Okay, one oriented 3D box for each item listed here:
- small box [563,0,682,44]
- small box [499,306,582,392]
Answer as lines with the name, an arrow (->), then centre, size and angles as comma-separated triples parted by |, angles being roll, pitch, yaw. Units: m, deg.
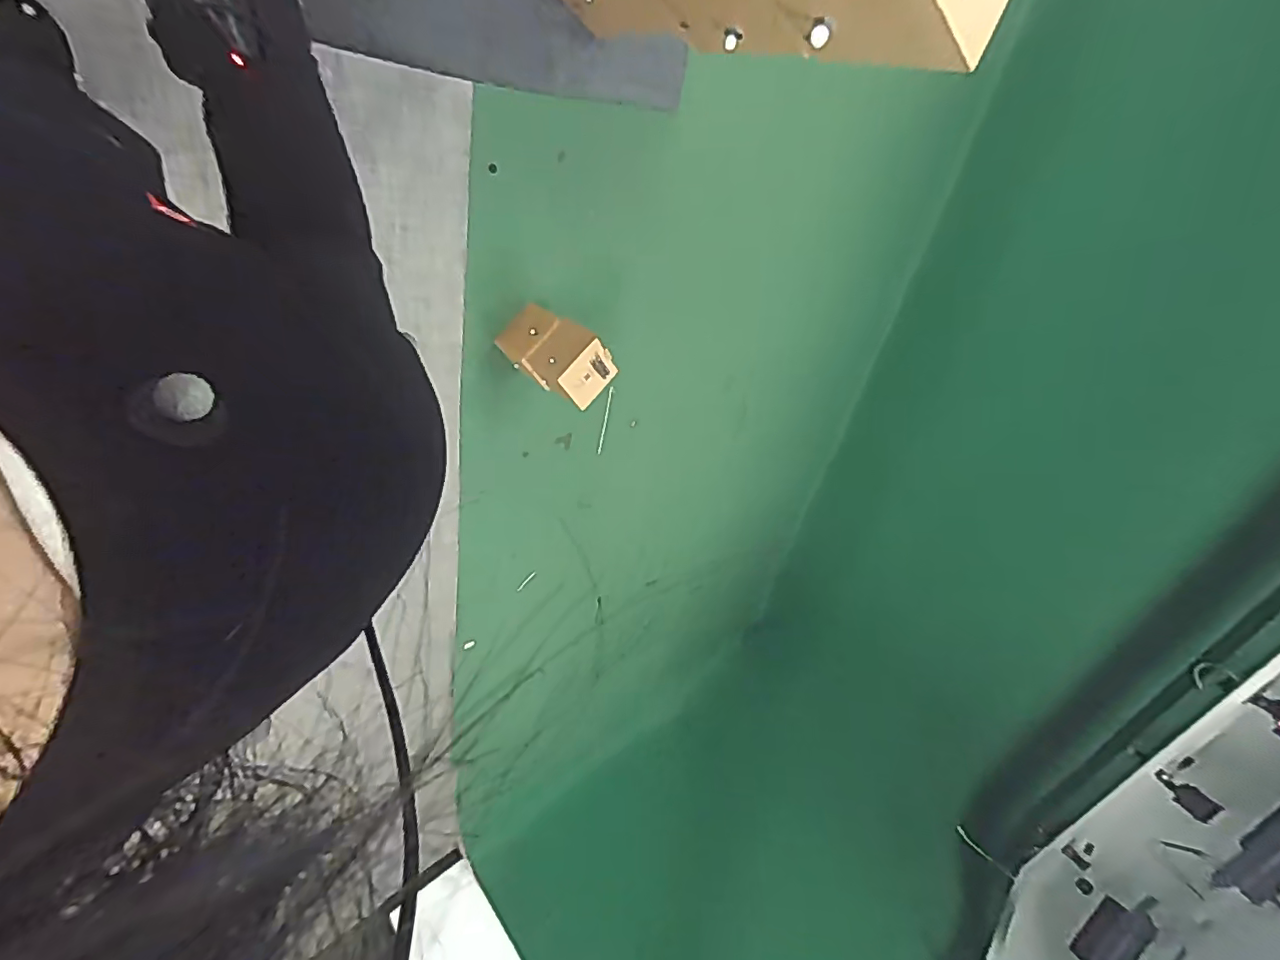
small box -> -0.018, -0.632, 0.600 | 0.168, 0.176, 0.179 | 6, 113, -52
small box -> -0.327, -0.424, 1.743 | 0.179, 0.176, 0.168 | -49, 146, -7
